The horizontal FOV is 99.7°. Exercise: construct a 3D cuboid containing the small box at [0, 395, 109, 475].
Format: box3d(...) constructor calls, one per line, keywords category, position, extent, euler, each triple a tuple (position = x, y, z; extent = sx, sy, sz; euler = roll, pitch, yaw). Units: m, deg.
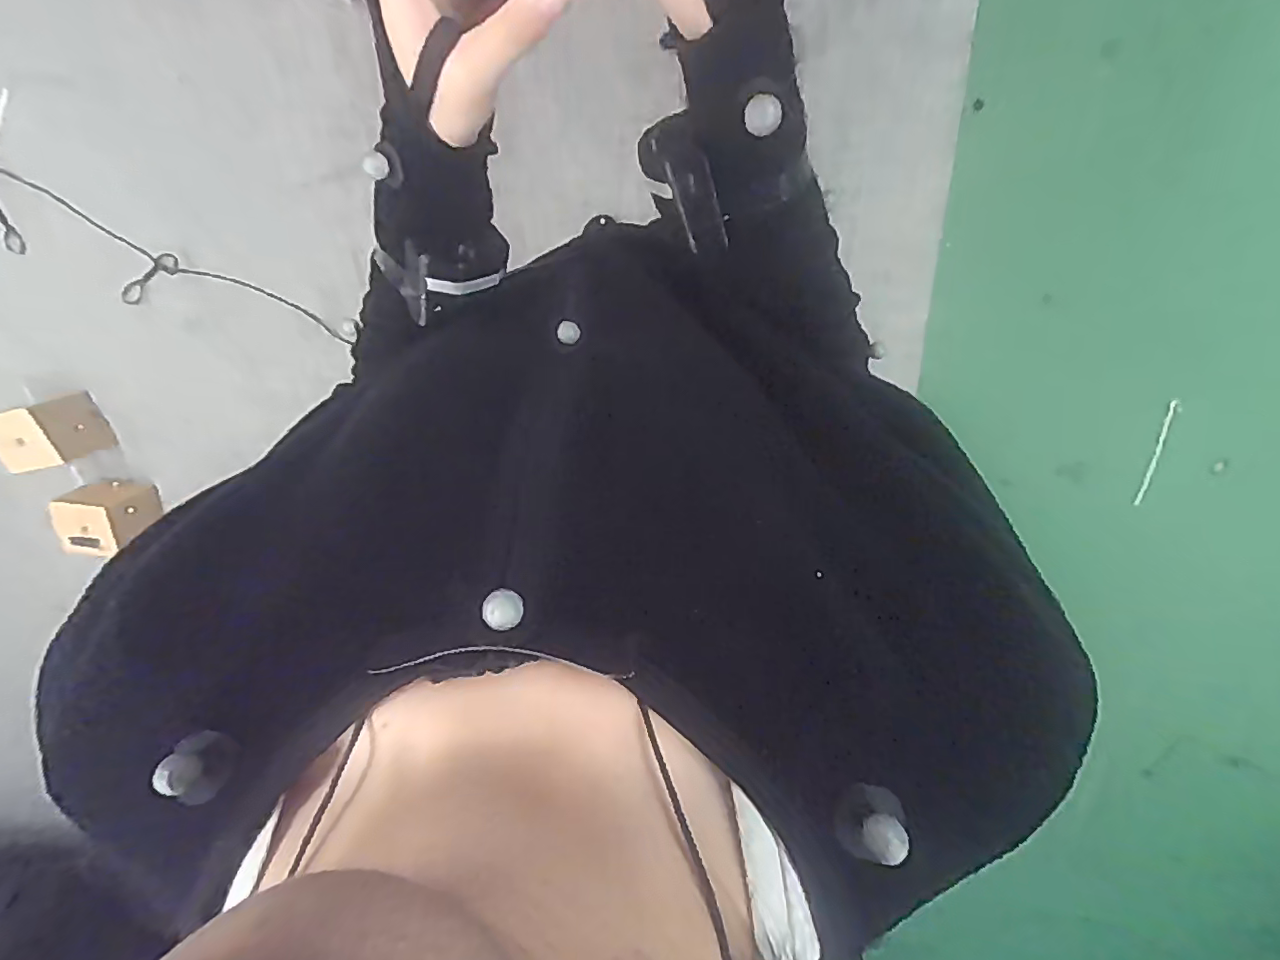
box3d(category="small box", position=(-1.665, -0.131, 1.518), extent=(0.179, 0.176, 0.168), euler=(-9, 114, 7))
